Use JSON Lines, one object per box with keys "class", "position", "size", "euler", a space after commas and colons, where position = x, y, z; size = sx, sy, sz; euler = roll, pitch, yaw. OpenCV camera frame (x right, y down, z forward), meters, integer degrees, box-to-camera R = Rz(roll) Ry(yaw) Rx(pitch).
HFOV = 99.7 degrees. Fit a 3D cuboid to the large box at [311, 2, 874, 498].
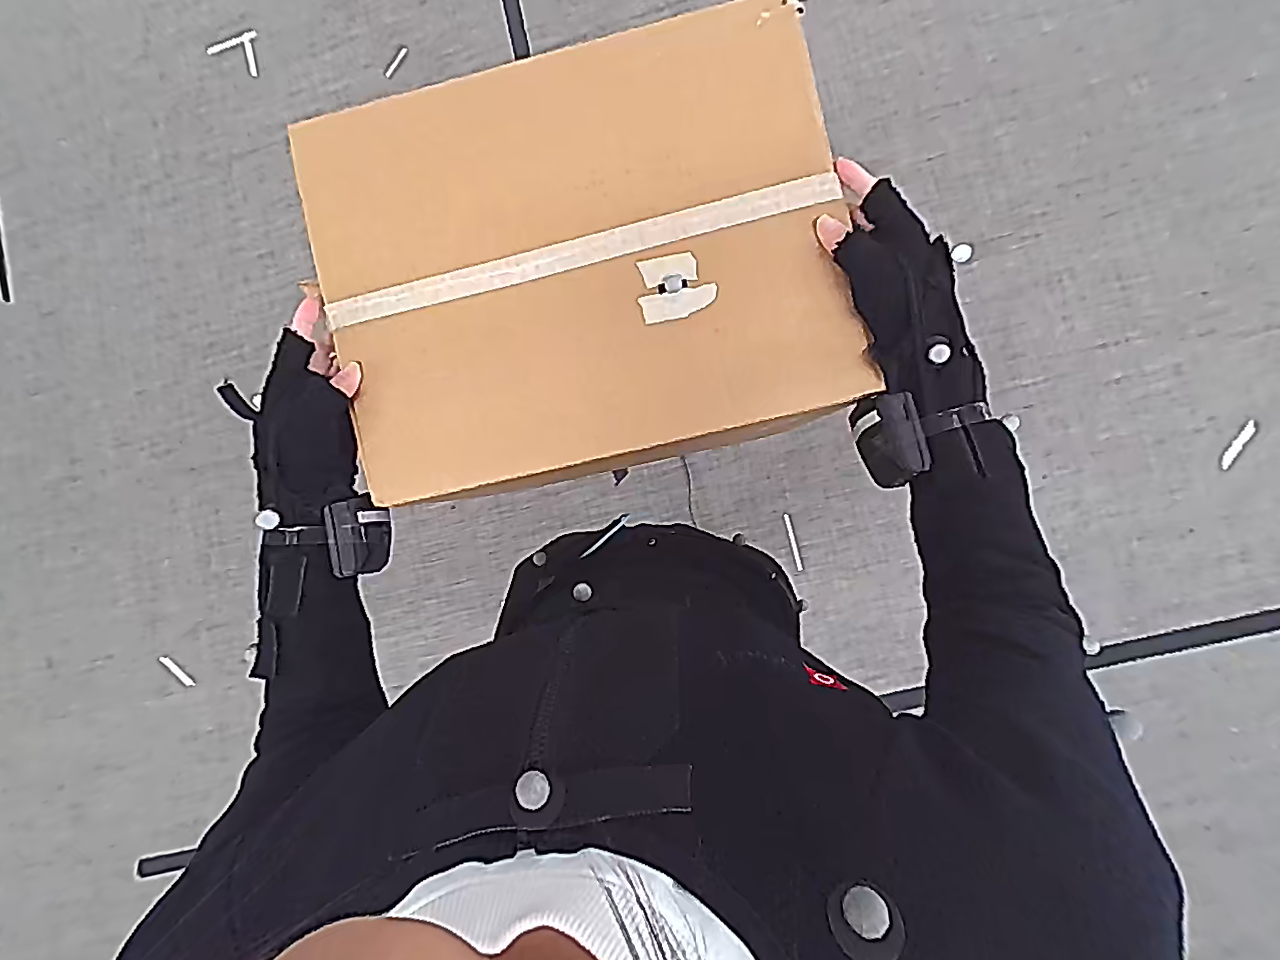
{"class": "large box", "position": [-0.038, -0.179, 0.578], "size": [0.408, 0.320, 0.320], "euler": [-13, 90, 3]}
